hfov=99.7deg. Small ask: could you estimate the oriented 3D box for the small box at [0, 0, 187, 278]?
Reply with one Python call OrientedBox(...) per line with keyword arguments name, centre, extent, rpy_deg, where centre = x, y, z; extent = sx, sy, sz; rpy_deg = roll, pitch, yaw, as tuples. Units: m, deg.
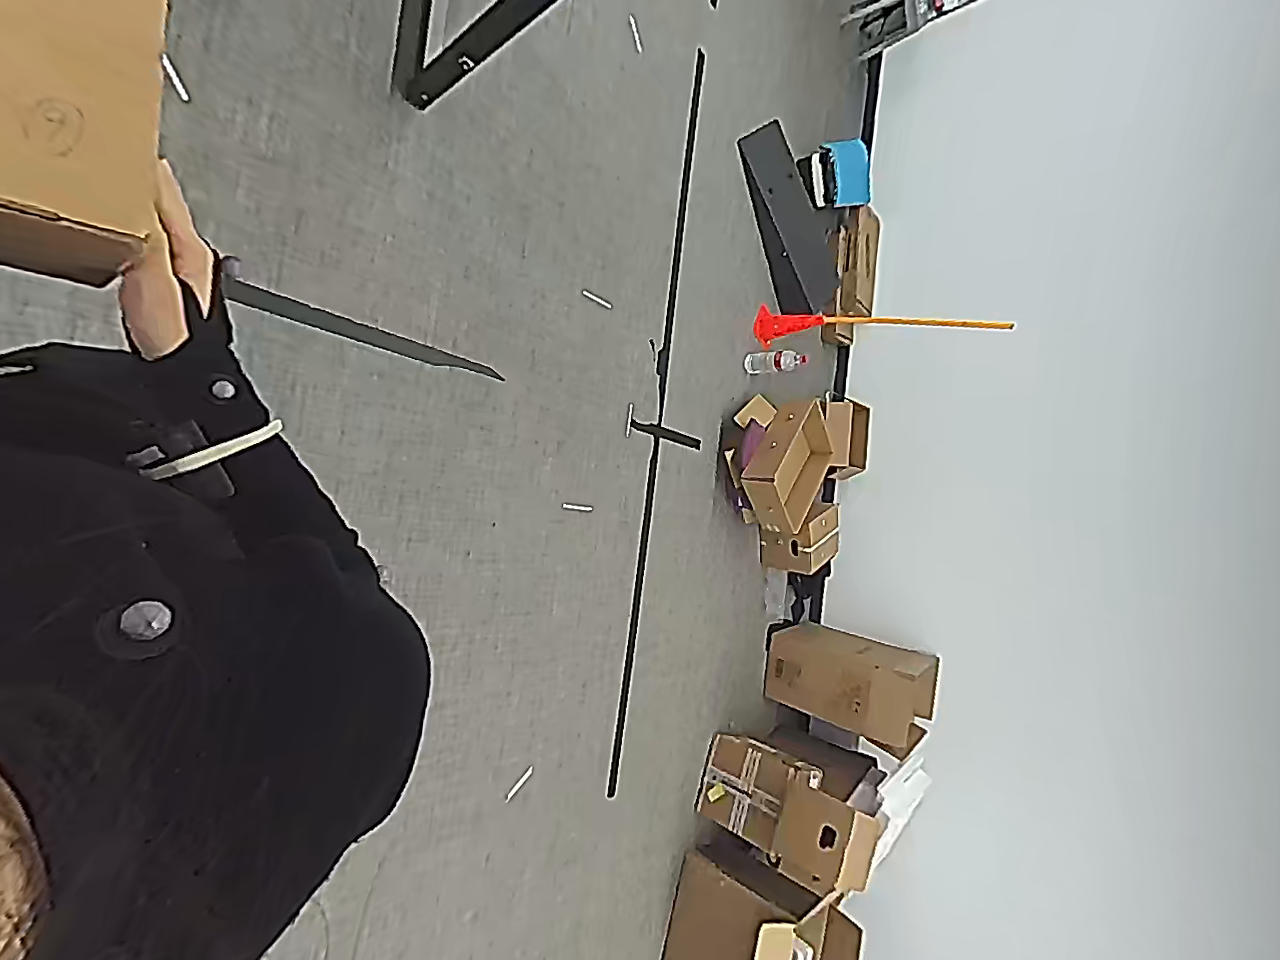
OrientedBox(name="small box", centre=(-0.333, -0.206, 0.247), extent=(0.168, 0.176, 0.179), rpy_deg=(3, 95, -52))
